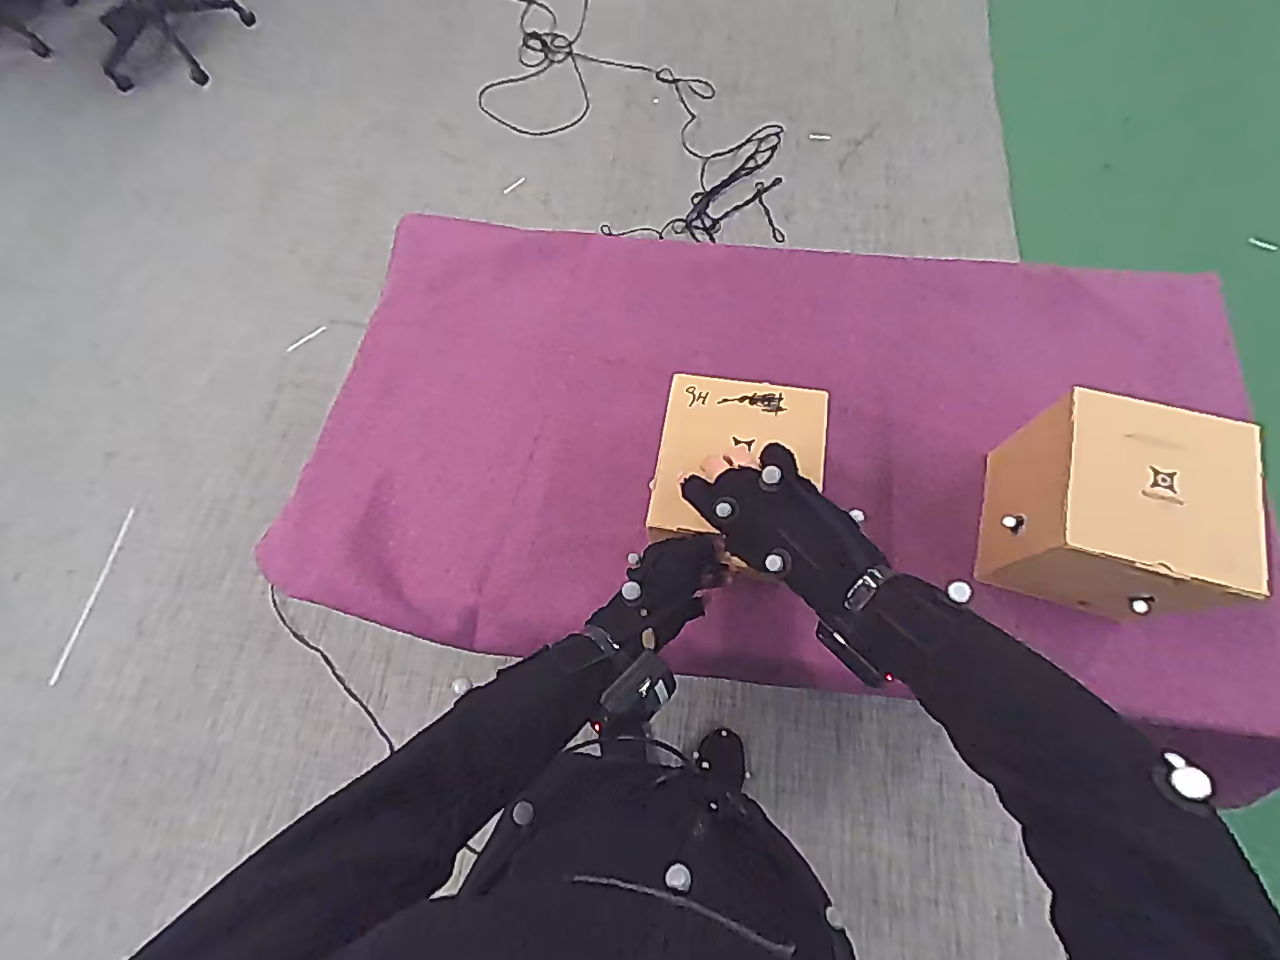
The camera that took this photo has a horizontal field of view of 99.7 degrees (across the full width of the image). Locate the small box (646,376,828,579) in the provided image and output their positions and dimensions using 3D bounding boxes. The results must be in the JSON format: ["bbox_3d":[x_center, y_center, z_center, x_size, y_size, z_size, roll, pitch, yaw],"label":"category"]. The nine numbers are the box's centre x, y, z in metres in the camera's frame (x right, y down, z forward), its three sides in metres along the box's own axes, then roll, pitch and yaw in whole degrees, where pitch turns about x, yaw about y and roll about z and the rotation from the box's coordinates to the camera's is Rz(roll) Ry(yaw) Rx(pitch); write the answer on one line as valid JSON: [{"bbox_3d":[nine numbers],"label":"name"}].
[{"bbox_3d":[0.107,0.006,0.620,0.168,0.176,0.179,9,70,7],"label":"small box"}]

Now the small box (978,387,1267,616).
[{"bbox_3d":[0.493,0.033,0.578,0.168,0.176,0.179,16,71,10],"label":"small box"}]
